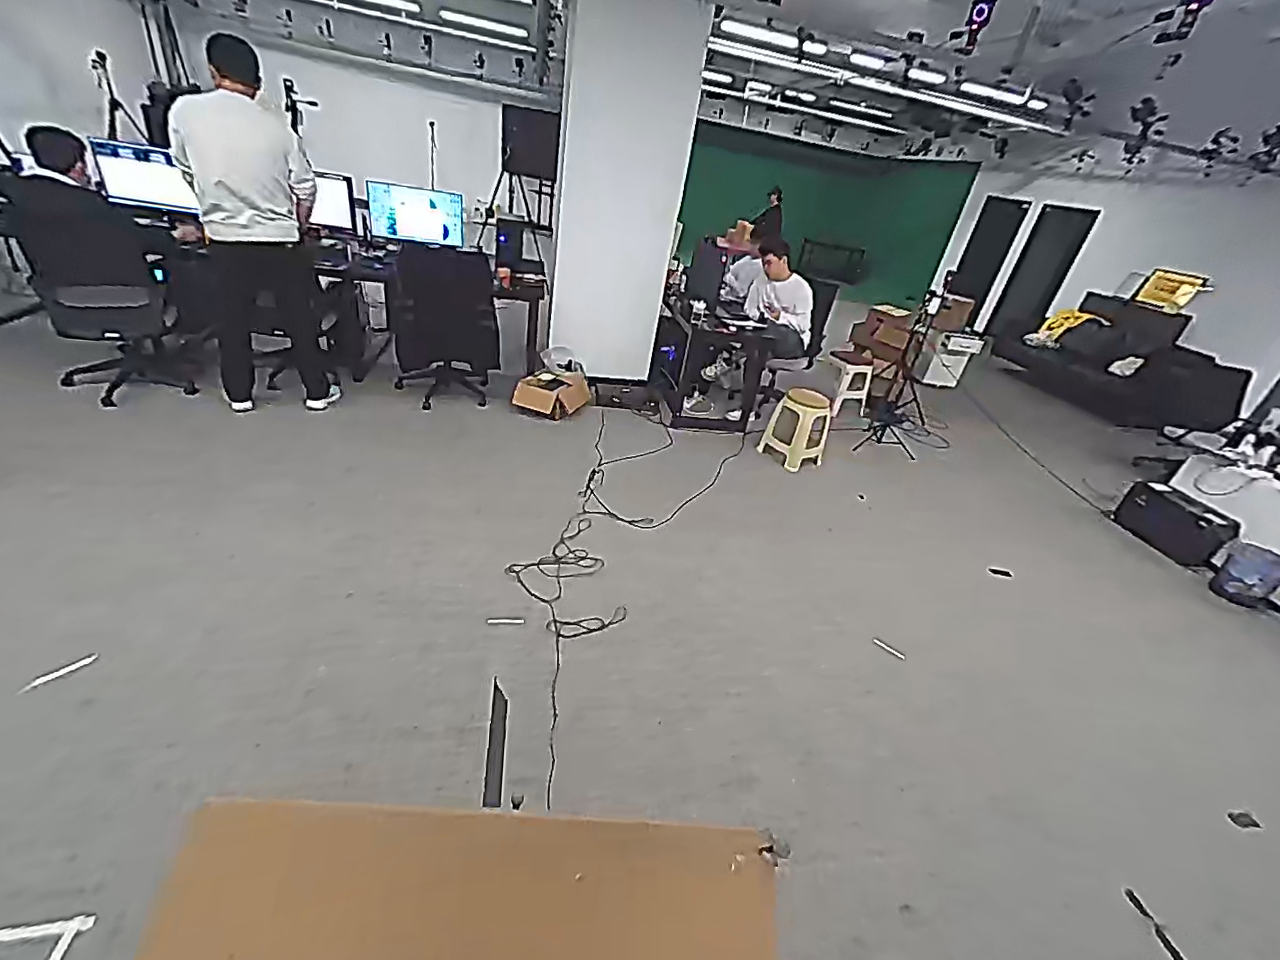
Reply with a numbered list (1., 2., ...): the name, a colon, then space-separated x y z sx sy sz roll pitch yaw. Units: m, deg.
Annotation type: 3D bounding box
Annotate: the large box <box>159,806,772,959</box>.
1. large box: -0.126 0.455 0.444 0.408 0.320 0.320 6 60 -5
